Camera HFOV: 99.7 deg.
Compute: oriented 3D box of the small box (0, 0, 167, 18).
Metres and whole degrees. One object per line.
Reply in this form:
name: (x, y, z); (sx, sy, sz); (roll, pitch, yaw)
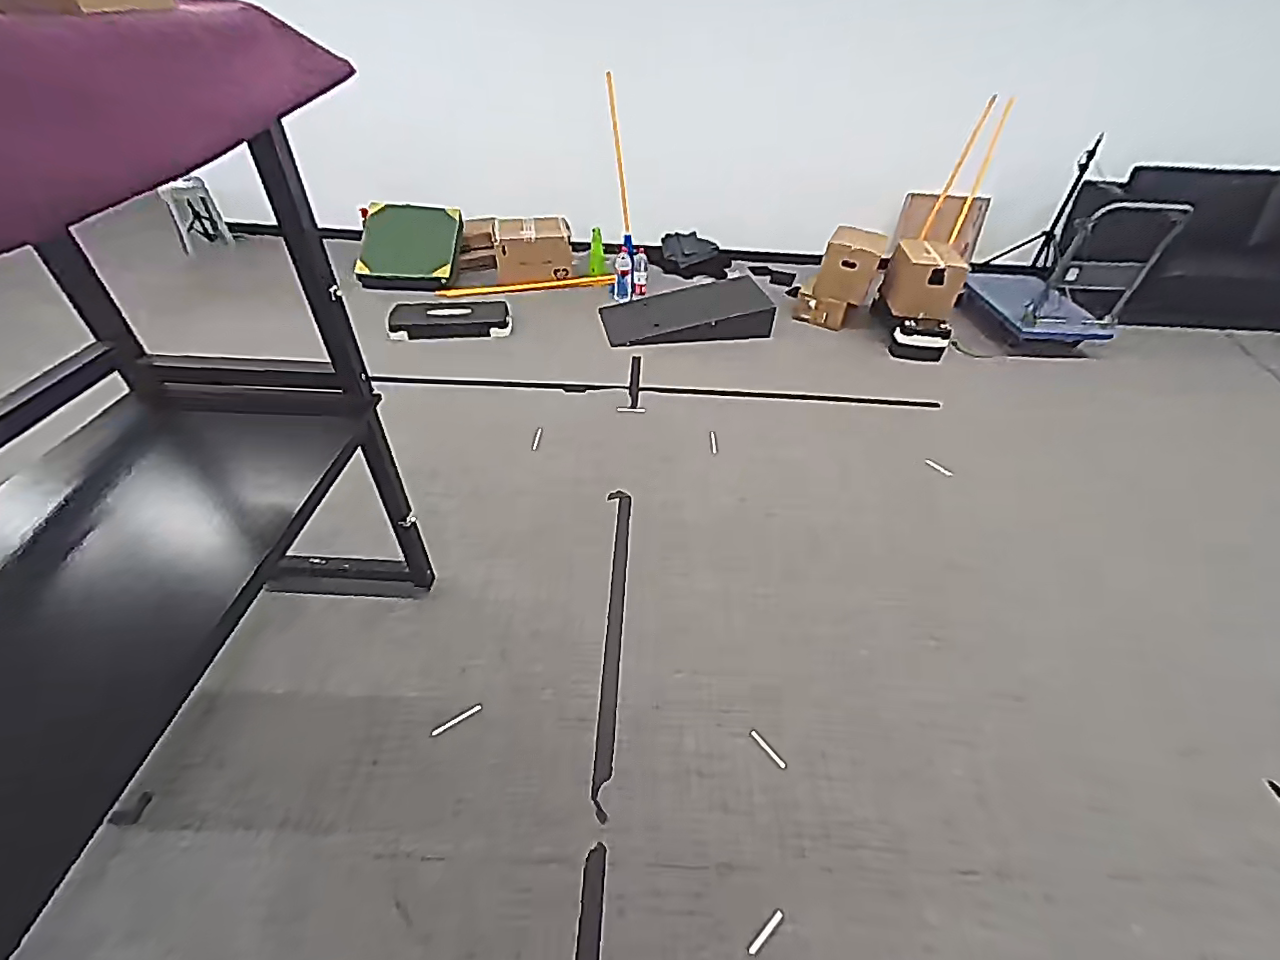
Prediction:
small box: (-0.746, -0.690, 0.666); (0.168, 0.176, 0.179); (4, 43, 2)
